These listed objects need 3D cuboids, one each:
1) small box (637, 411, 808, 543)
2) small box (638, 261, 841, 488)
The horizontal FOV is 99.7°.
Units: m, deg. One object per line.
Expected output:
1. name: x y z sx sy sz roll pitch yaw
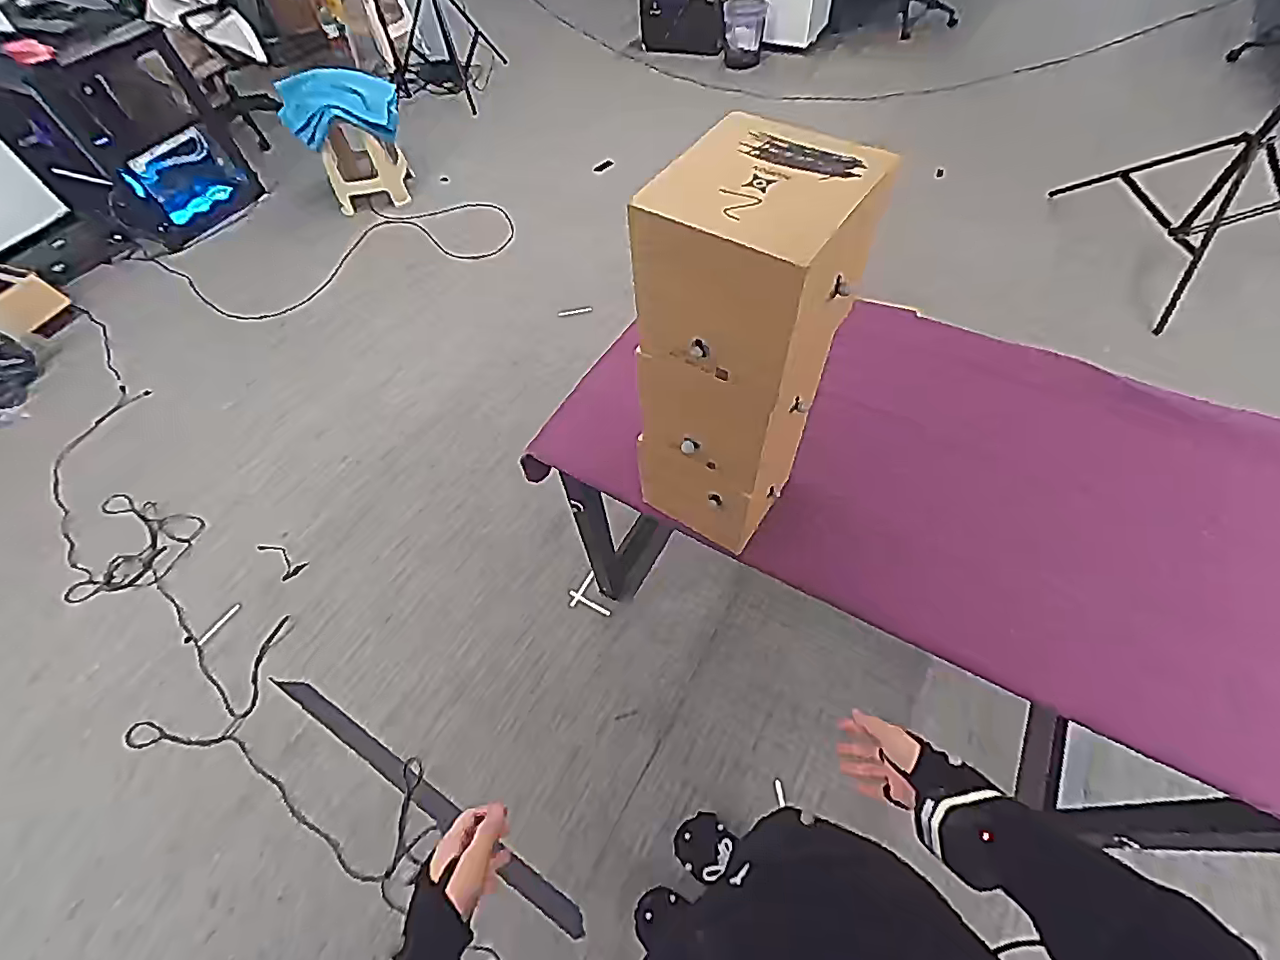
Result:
1. small box: 0.117 -0.030 0.792 0.179 0.176 0.168 29 63 21
2. small box: 0.114 -0.124 0.657 0.168 0.176 0.179 28 65 20
